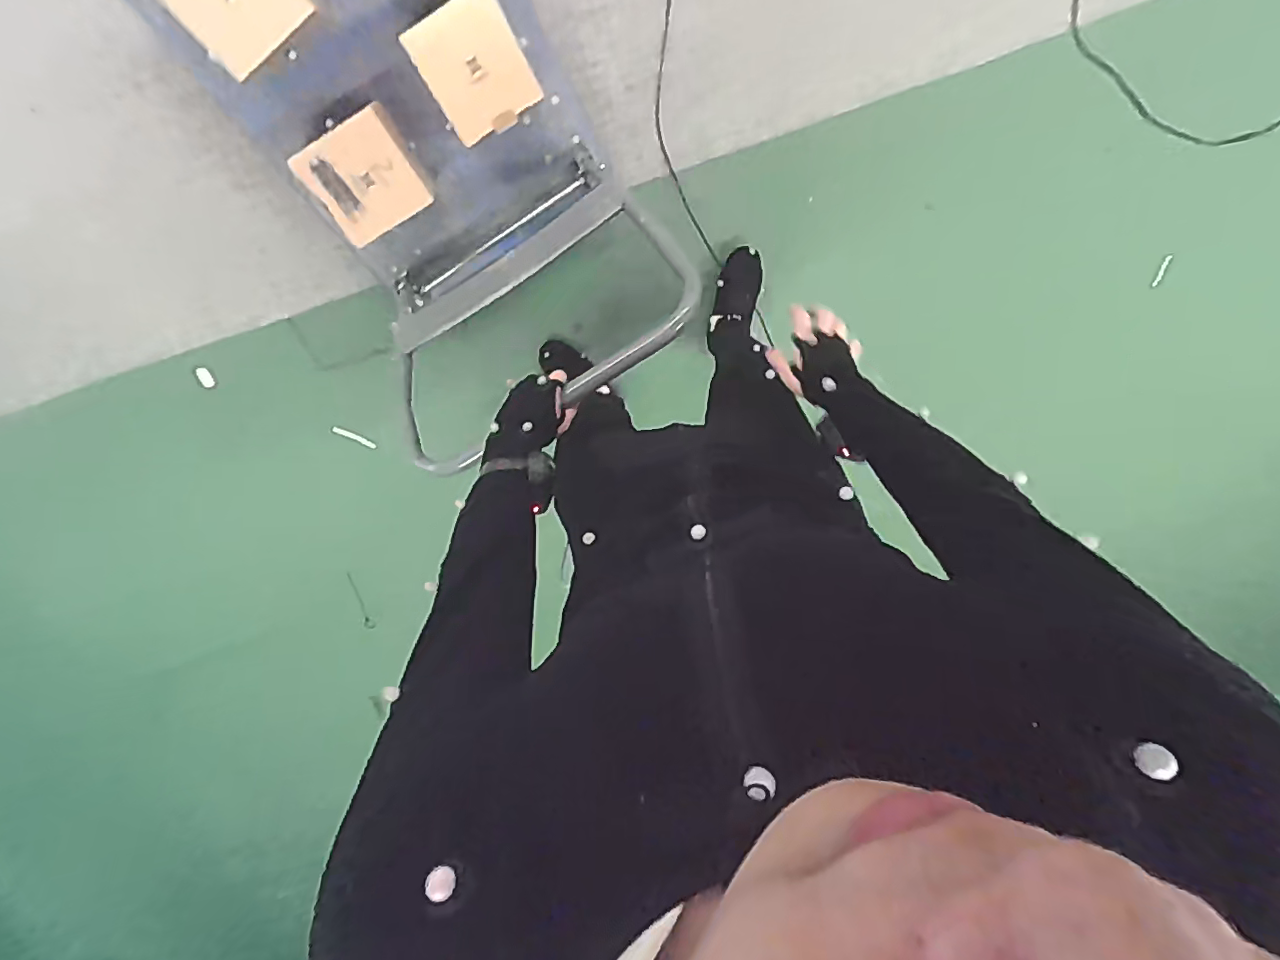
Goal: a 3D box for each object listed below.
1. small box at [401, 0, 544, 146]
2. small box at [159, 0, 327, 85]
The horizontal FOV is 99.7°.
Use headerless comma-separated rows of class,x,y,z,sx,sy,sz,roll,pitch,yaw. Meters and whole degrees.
small box,-0.296,-0.735,0.961,0.168,0.176,0.179,-30,132,6
small box,-0.621,-0.756,0.832,0.168,0.176,0.179,-35,130,9
